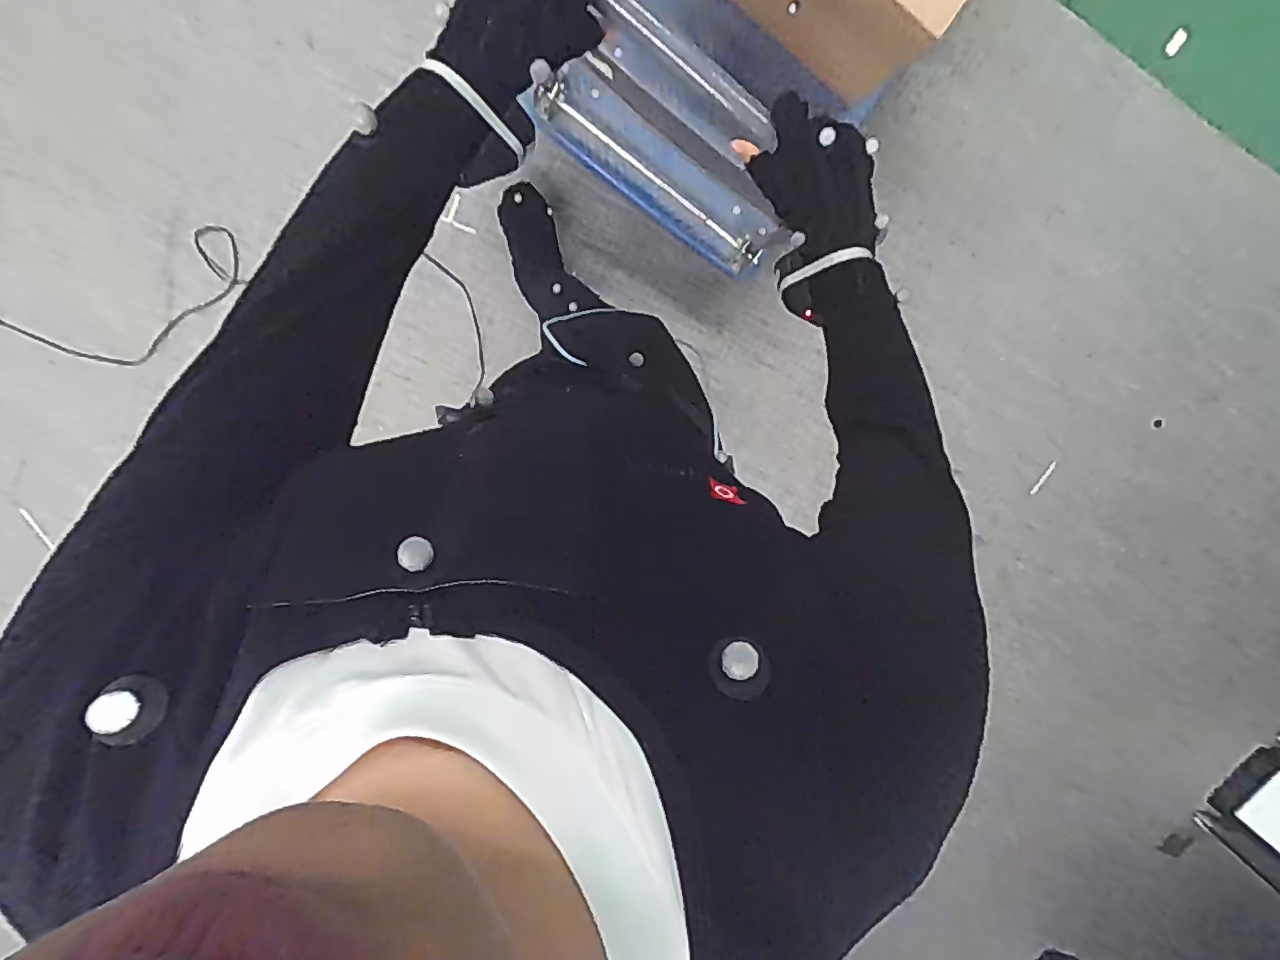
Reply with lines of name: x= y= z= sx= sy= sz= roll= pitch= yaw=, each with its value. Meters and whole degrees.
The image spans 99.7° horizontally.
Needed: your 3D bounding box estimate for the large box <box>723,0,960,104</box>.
large box: x=0.337 y=-0.904 z=0.850 sx=0.408 sy=0.320 sz=0.320 roll=32 pitch=105 yaw=-12
